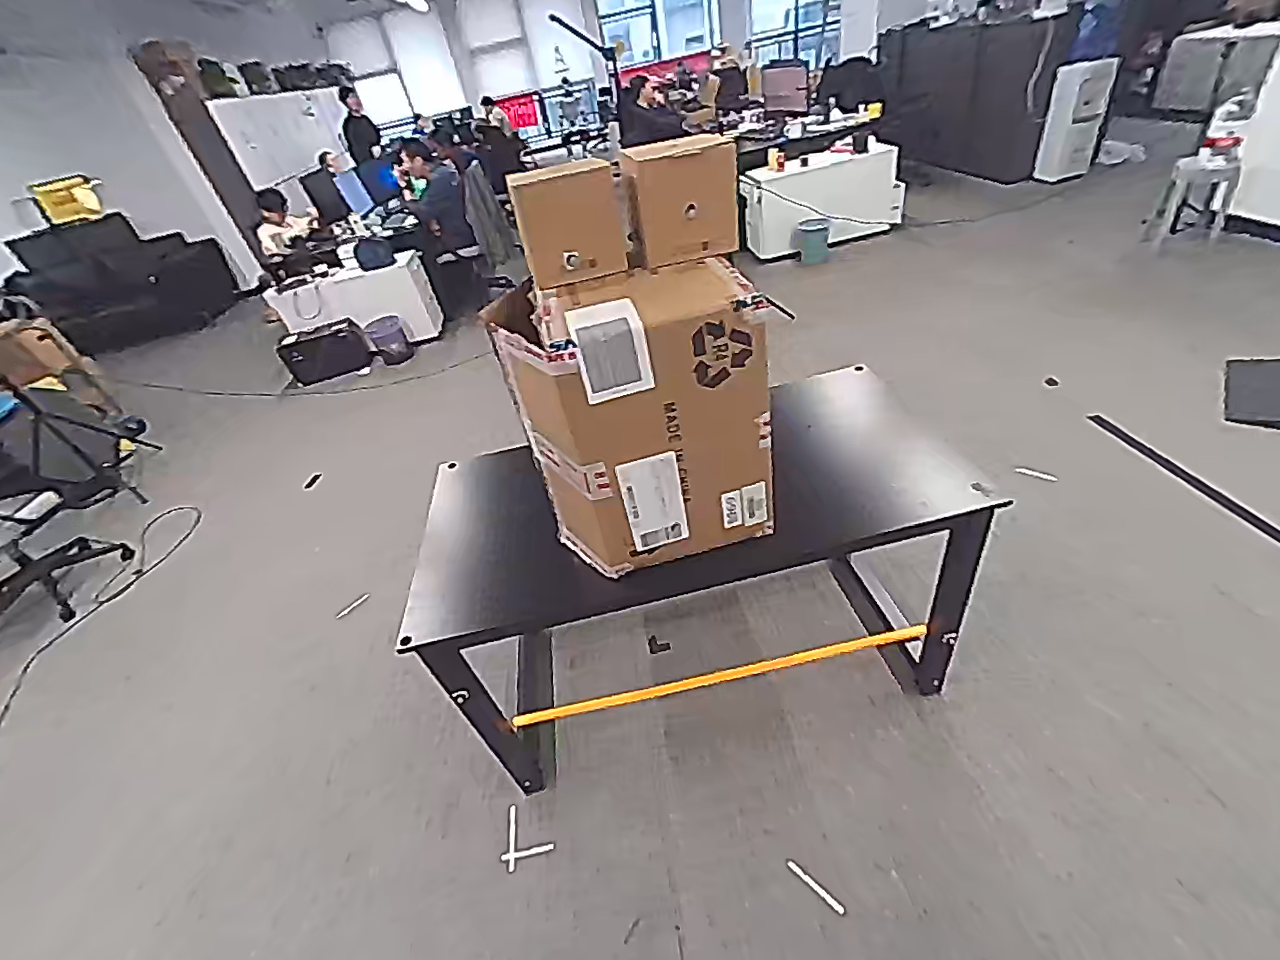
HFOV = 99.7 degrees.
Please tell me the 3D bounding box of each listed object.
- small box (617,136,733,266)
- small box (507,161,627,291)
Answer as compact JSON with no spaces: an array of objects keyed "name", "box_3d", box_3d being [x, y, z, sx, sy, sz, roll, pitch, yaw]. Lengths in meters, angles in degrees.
[{"name":"small box","box_3d":[0.064,-0.496,0.968,0.168,0.176,0.179,-13,38,-4]},{"name":"small box","box_3d":[-0.131,-0.456,0.969,0.168,0.176,0.179,-17,37,-6]}]
